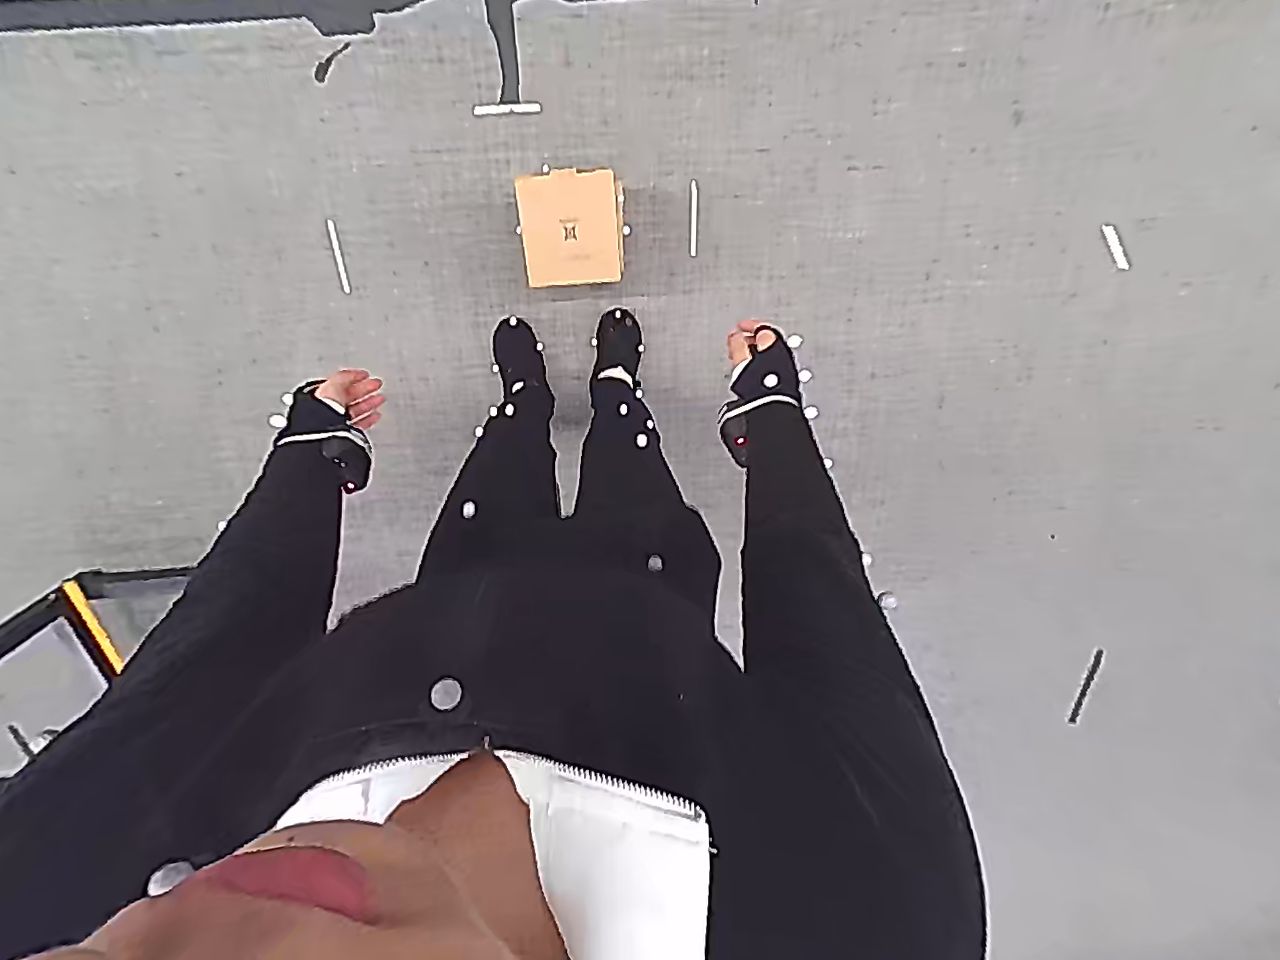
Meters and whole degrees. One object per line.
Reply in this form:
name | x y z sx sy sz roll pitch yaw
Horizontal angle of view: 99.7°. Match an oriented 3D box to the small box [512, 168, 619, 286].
small box | -0.128 -0.462 0.989 0.168 0.176 0.179 -4 118 0
